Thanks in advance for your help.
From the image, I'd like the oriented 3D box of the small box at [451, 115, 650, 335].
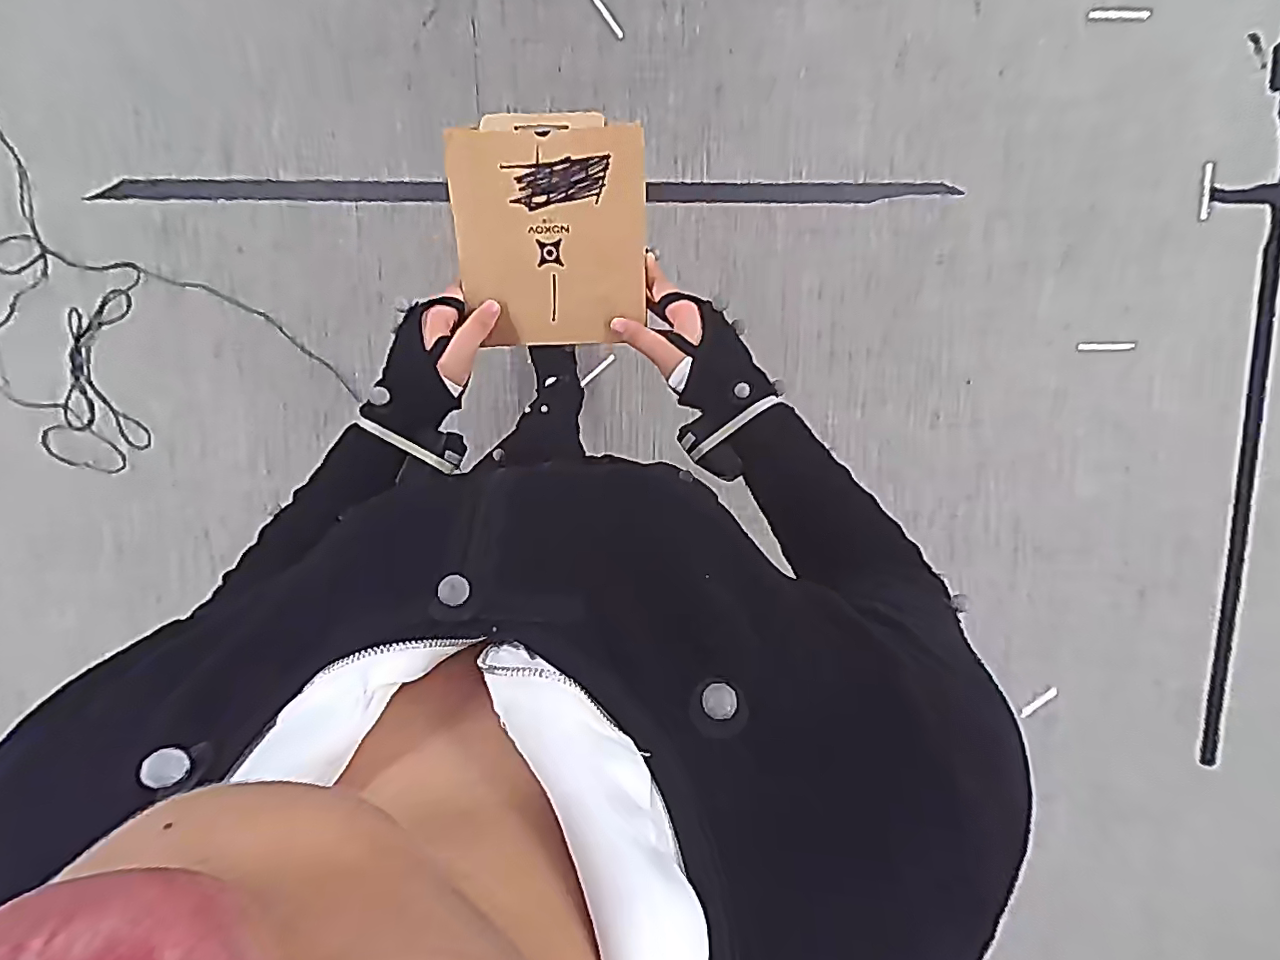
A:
[{"bbox_3d":[-0.074,-0.242,0.546,0.168,0.176,0.179,-1,110,1],"label":"small box"}]
